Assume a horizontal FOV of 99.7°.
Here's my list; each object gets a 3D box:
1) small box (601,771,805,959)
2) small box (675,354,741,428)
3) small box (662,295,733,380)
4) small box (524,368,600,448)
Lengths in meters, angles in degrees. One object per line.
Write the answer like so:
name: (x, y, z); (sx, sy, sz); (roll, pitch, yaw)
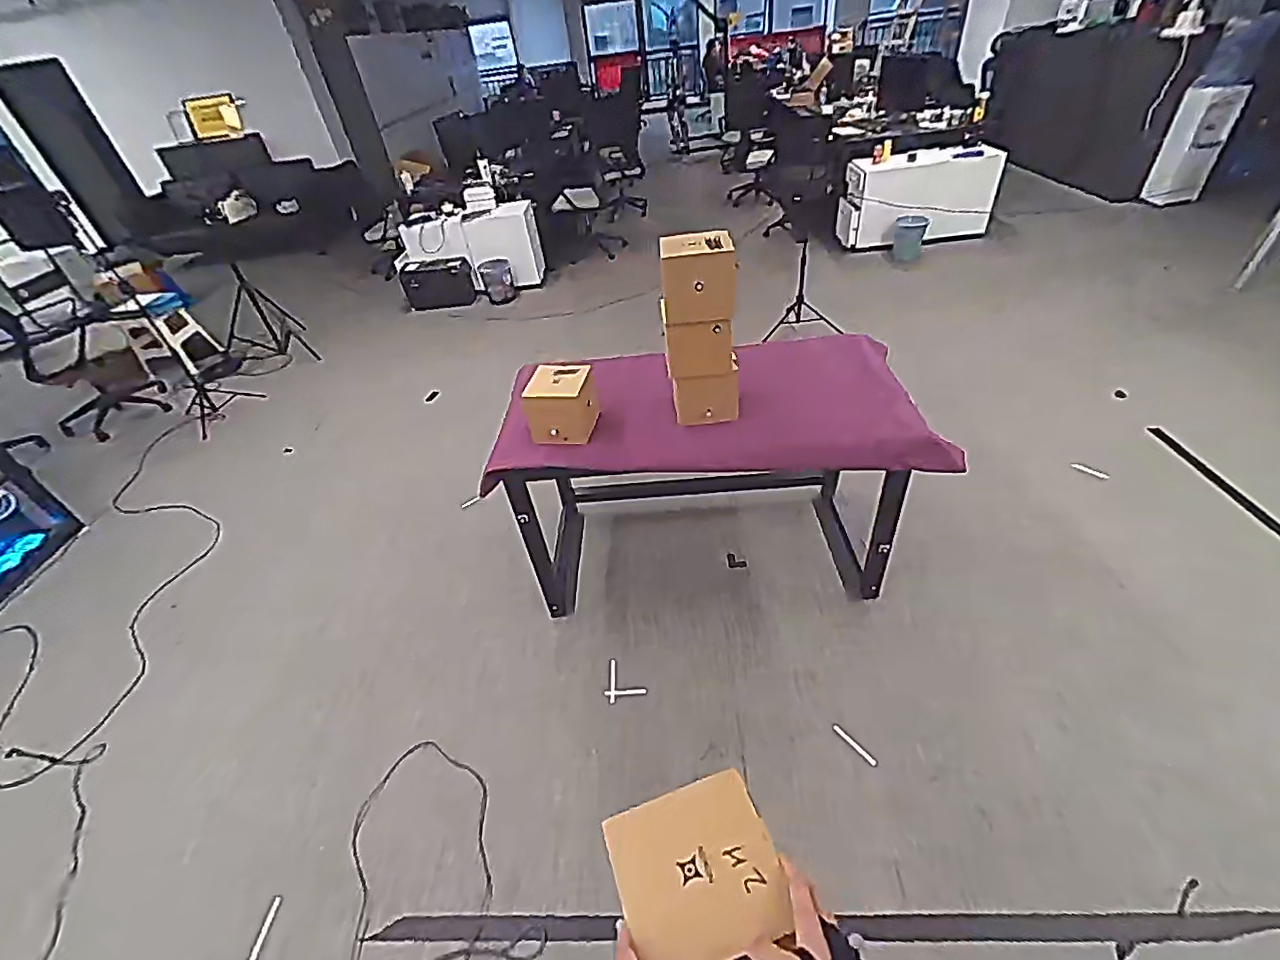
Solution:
small box: (0.069, 0.480, 0.622); (0.179, 0.176, 0.168); (-15, 37, -10)
small box: (0.194, -0.271, 1.589); (0.179, 0.176, 0.168); (-6, 39, 2)
small box: (0.157, -0.387, 1.478); (0.179, 0.176, 0.168); (-6, 39, 2)
small box: (-0.221, -0.215, 1.593); (0.168, 0.176, 0.179); (2, 41, 11)
